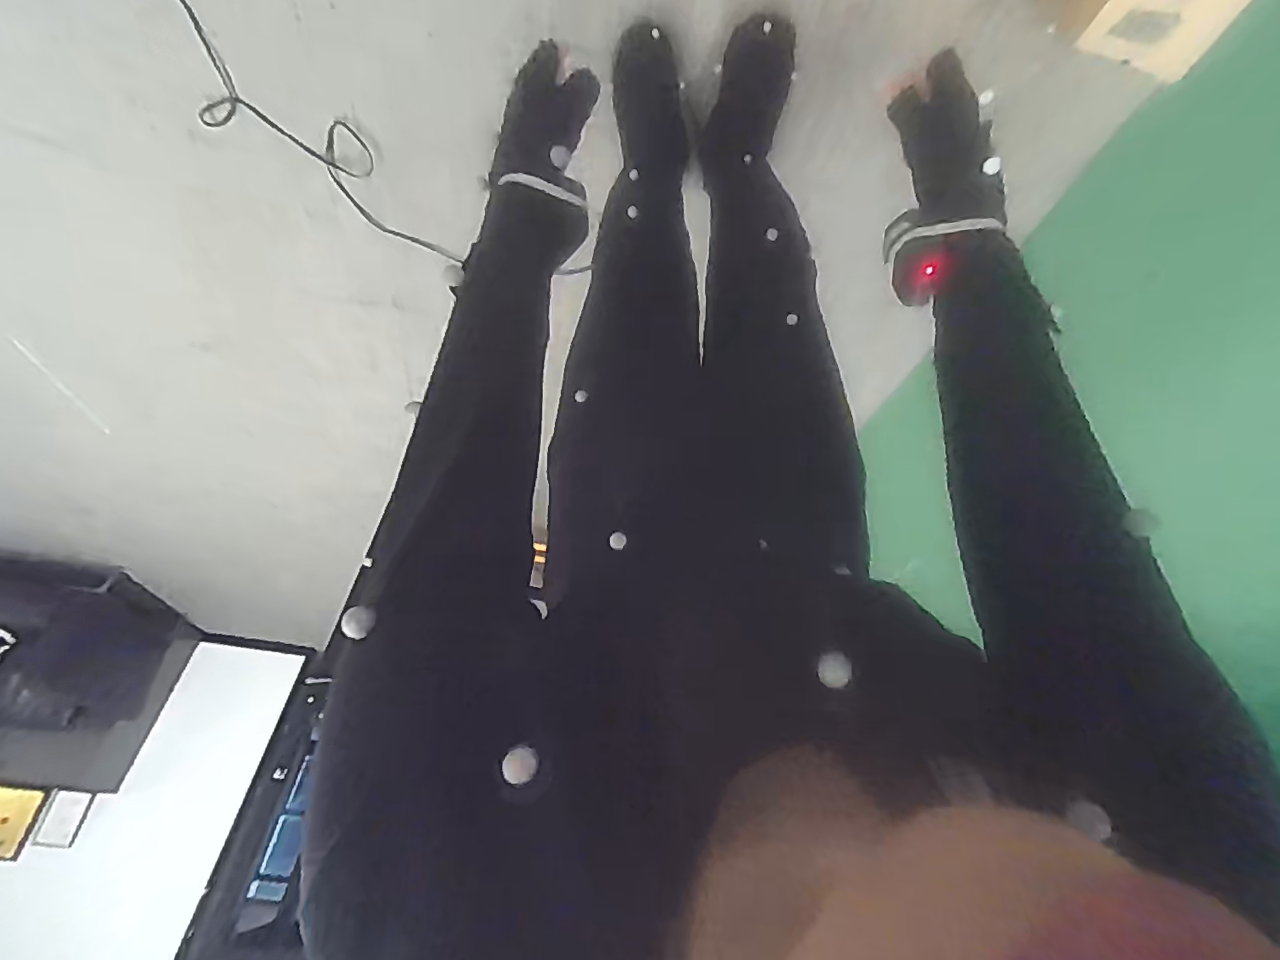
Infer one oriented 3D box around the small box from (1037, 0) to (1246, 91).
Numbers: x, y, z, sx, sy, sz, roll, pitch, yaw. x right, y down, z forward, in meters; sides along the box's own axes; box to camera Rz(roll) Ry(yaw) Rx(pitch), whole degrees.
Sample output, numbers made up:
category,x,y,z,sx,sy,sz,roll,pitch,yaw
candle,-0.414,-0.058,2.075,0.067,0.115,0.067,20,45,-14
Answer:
category,x,y,z,sx,sy,sz,roll,pitch,yaw
small box,0.673,-0.668,0.715,0.168,0.176,0.179,12,144,-9
